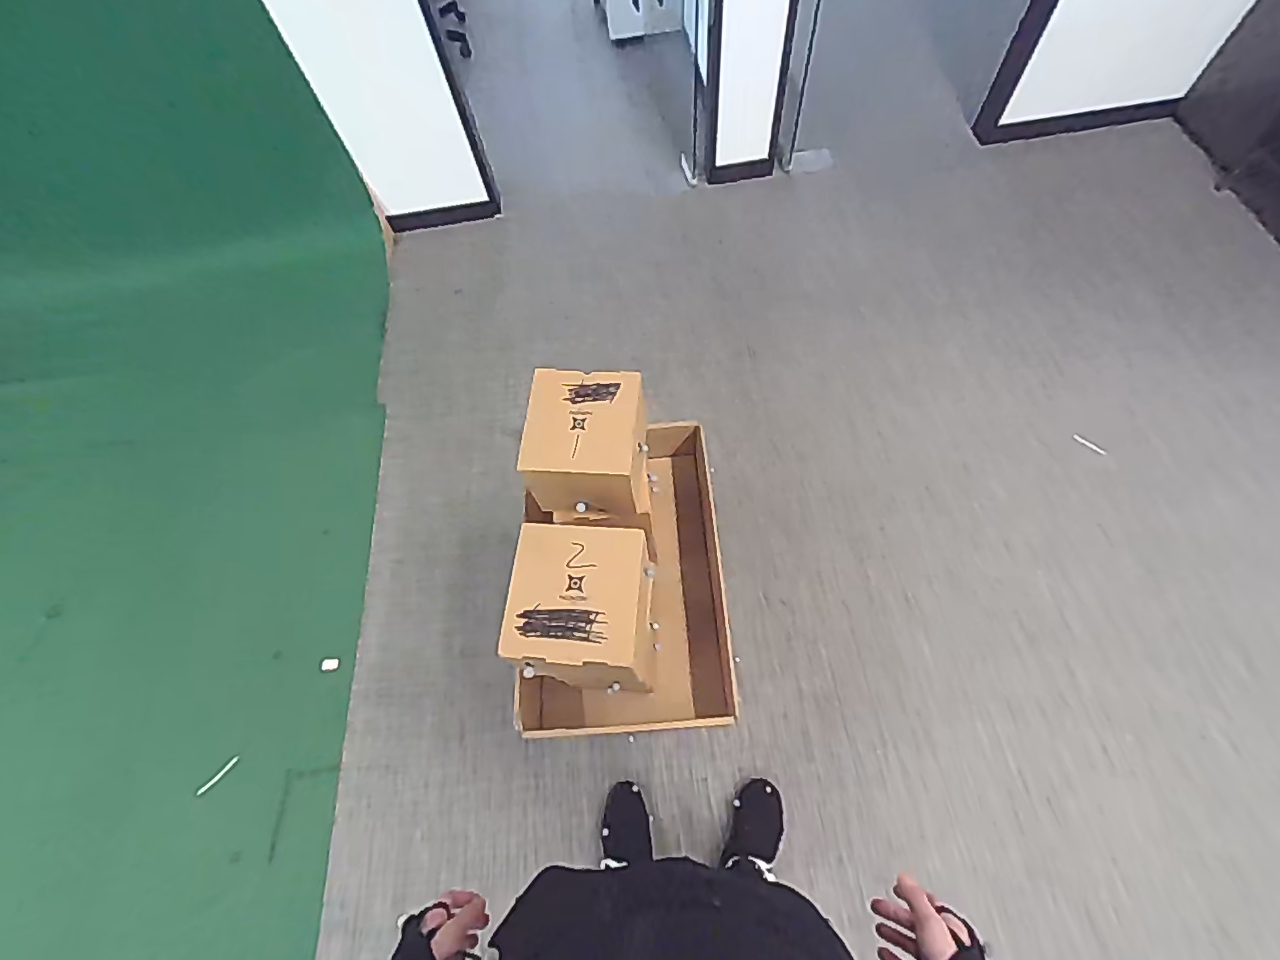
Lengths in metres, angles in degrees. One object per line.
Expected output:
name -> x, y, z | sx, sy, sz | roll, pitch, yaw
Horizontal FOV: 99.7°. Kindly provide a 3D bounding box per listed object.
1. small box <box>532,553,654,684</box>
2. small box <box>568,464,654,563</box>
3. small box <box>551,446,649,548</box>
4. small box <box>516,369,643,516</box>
small box -> -0.067, 0.237, 0.905 | 0.168, 0.176, 0.179 | 5, 63, 6
small box -> -0.060, 0.081, 1.165 | 0.168, 0.176, 0.179 | -6, 65, 2
small box -> -0.071, 0.015, 1.017 | 0.168, 0.176, 0.179 | -5, 66, 1
small box -> -0.086, -0.057, 0.871 | 0.168, 0.176, 0.179 | 3, 67, 5
